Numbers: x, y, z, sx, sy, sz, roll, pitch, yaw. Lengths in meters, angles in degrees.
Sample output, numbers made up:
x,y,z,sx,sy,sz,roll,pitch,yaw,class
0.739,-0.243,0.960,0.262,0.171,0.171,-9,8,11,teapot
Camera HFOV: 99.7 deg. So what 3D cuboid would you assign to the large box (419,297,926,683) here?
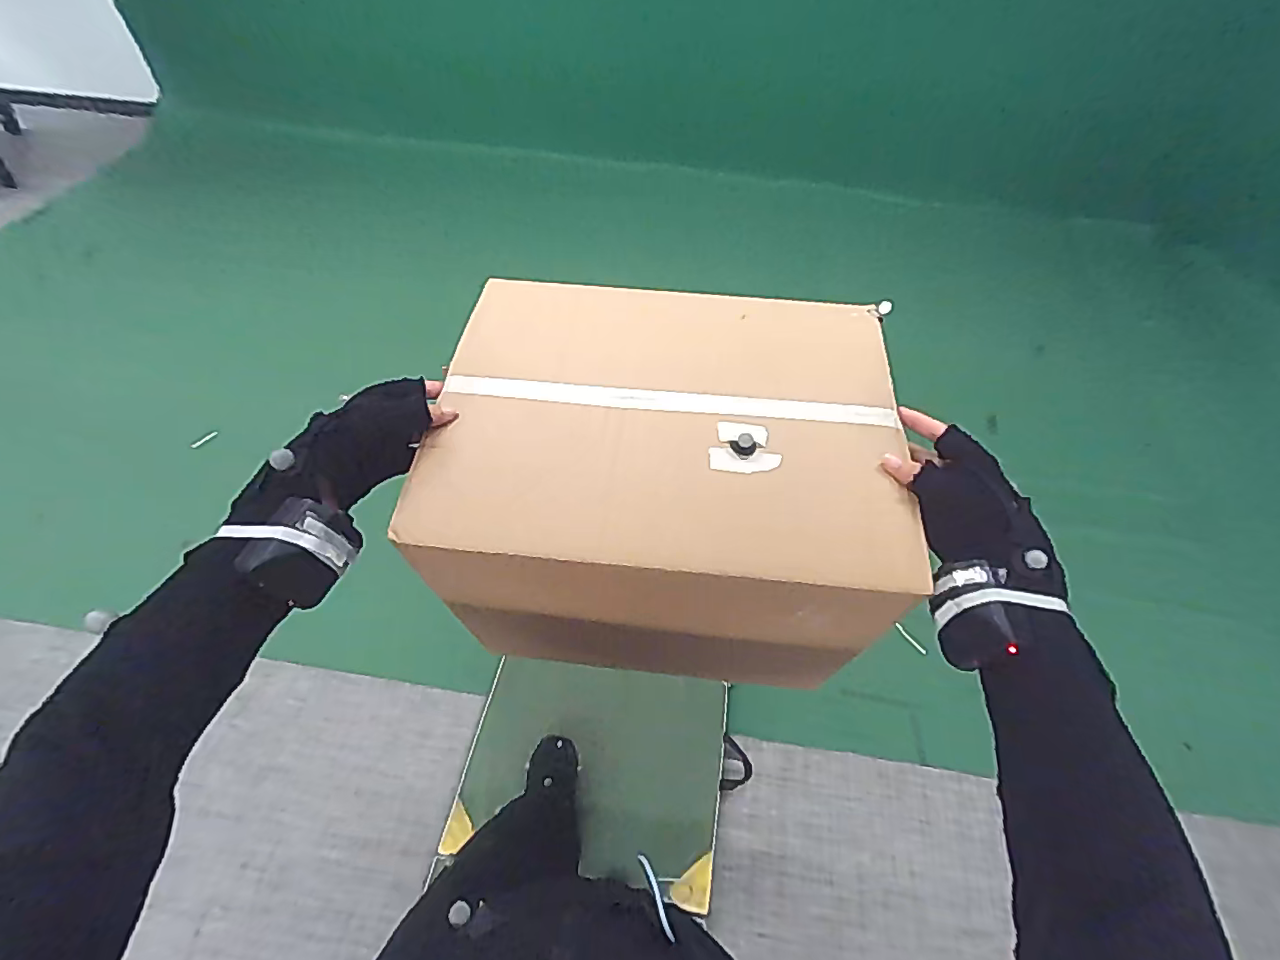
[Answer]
x,y,z,sx,sy,sz,roll,pitch,yaw,class
0.031,0.024,0.621,0.408,0.320,0.320,6,57,2,large box
